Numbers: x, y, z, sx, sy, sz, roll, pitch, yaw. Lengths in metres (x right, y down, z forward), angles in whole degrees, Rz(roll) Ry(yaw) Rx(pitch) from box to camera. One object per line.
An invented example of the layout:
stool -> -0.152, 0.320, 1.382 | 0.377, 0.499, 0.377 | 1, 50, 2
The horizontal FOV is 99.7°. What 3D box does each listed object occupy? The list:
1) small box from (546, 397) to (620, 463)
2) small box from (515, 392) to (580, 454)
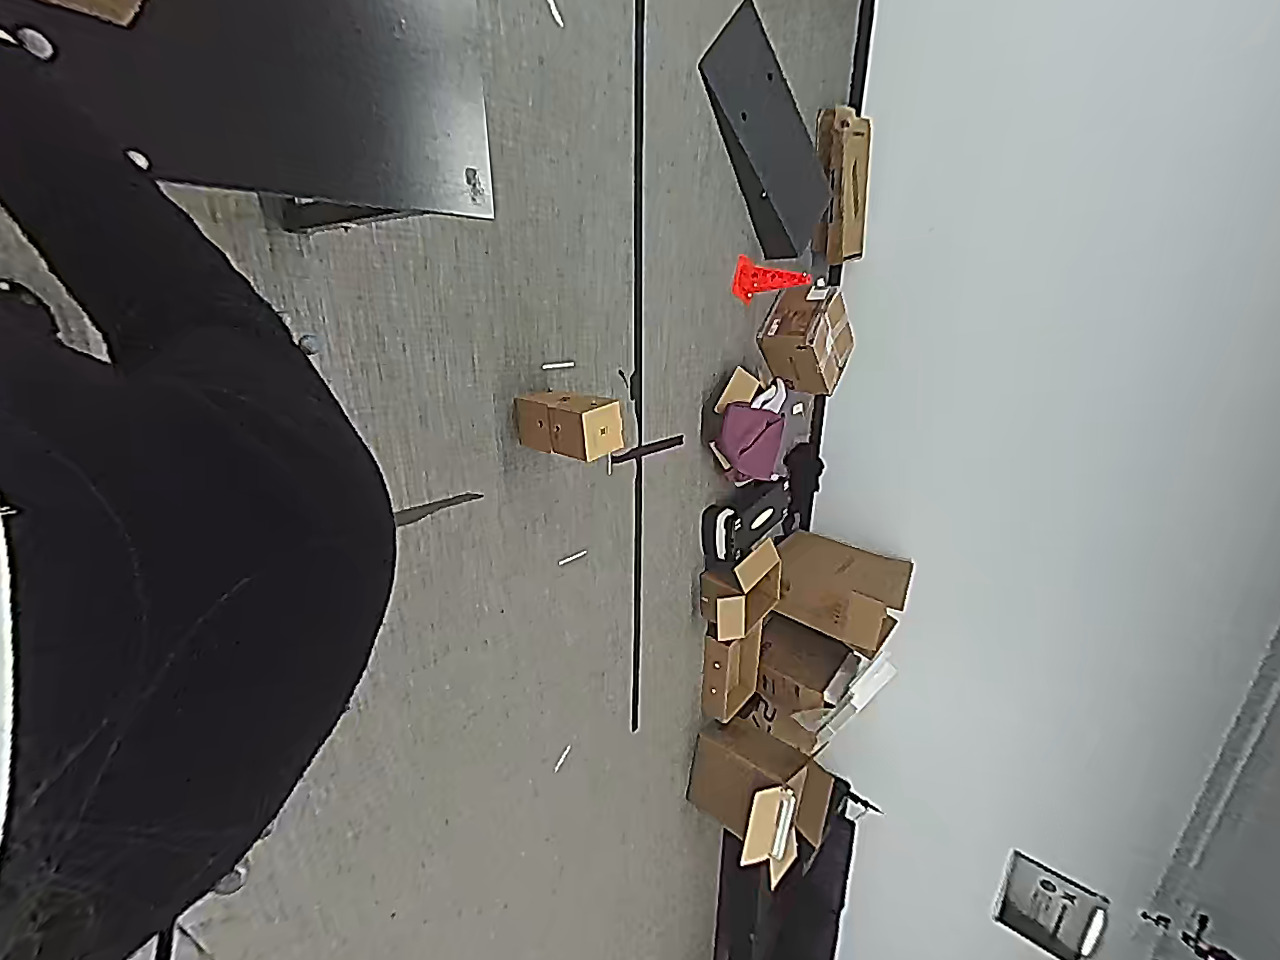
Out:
small box -> -0.189, -0.174, 1.802 | 0.179, 0.176, 0.168 | -27, 122, -42
small box -> -0.320, -0.207, 1.893 | 0.168, 0.176, 0.179 | -24, 121, -45
